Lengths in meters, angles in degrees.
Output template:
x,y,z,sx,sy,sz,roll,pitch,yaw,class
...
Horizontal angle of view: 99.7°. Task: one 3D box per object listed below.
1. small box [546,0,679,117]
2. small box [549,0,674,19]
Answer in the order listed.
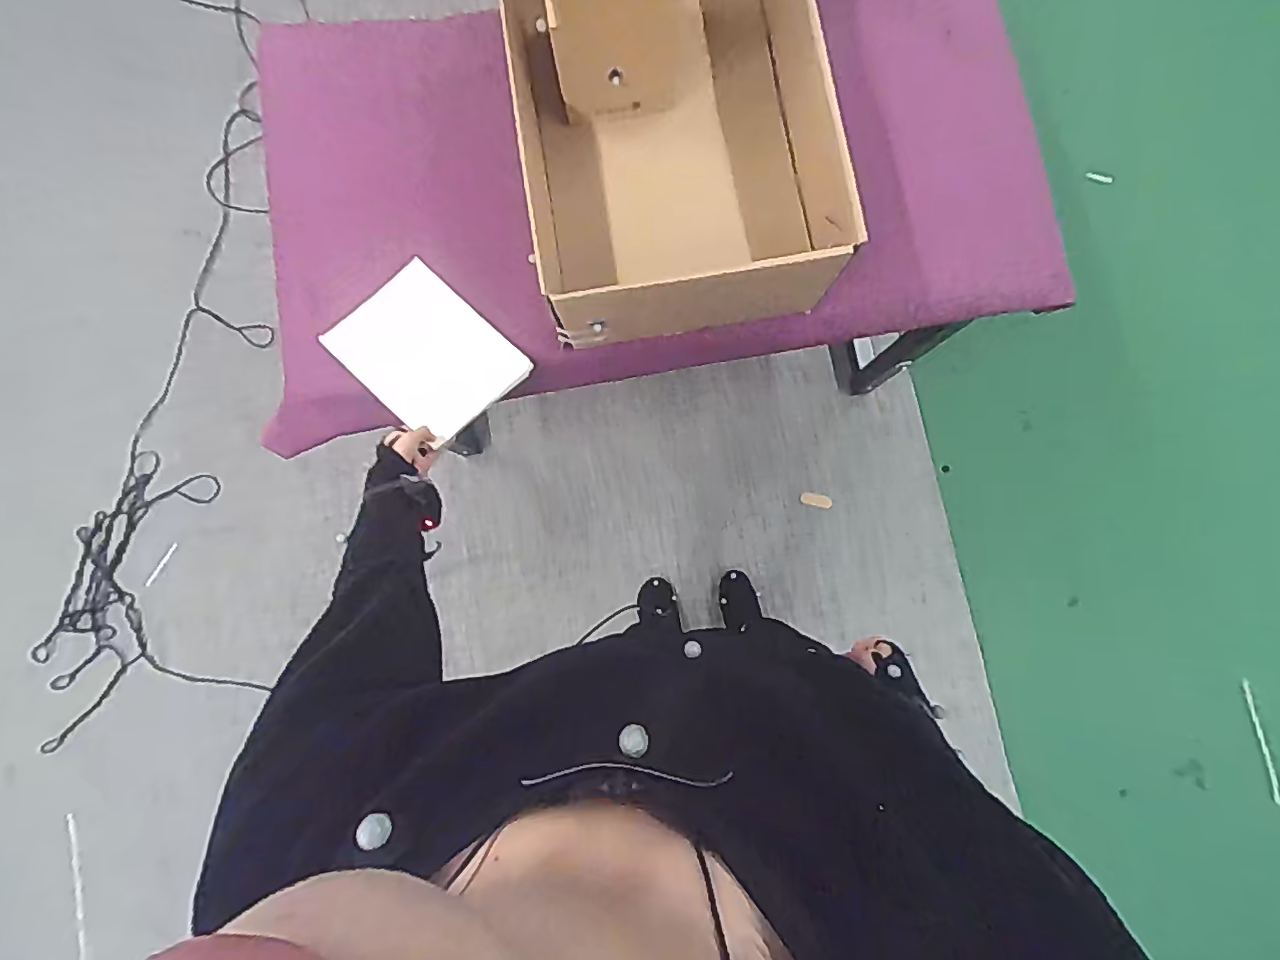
x,y,z,sx,sy,sz,roll,pitch,yaw,class
-0.039,-0.640,0.747,0.168,0.176,0.179,-9,85,1,small box
-0.037,-0.653,0.586,0.179,0.176,0.168,-11,85,0,small box
